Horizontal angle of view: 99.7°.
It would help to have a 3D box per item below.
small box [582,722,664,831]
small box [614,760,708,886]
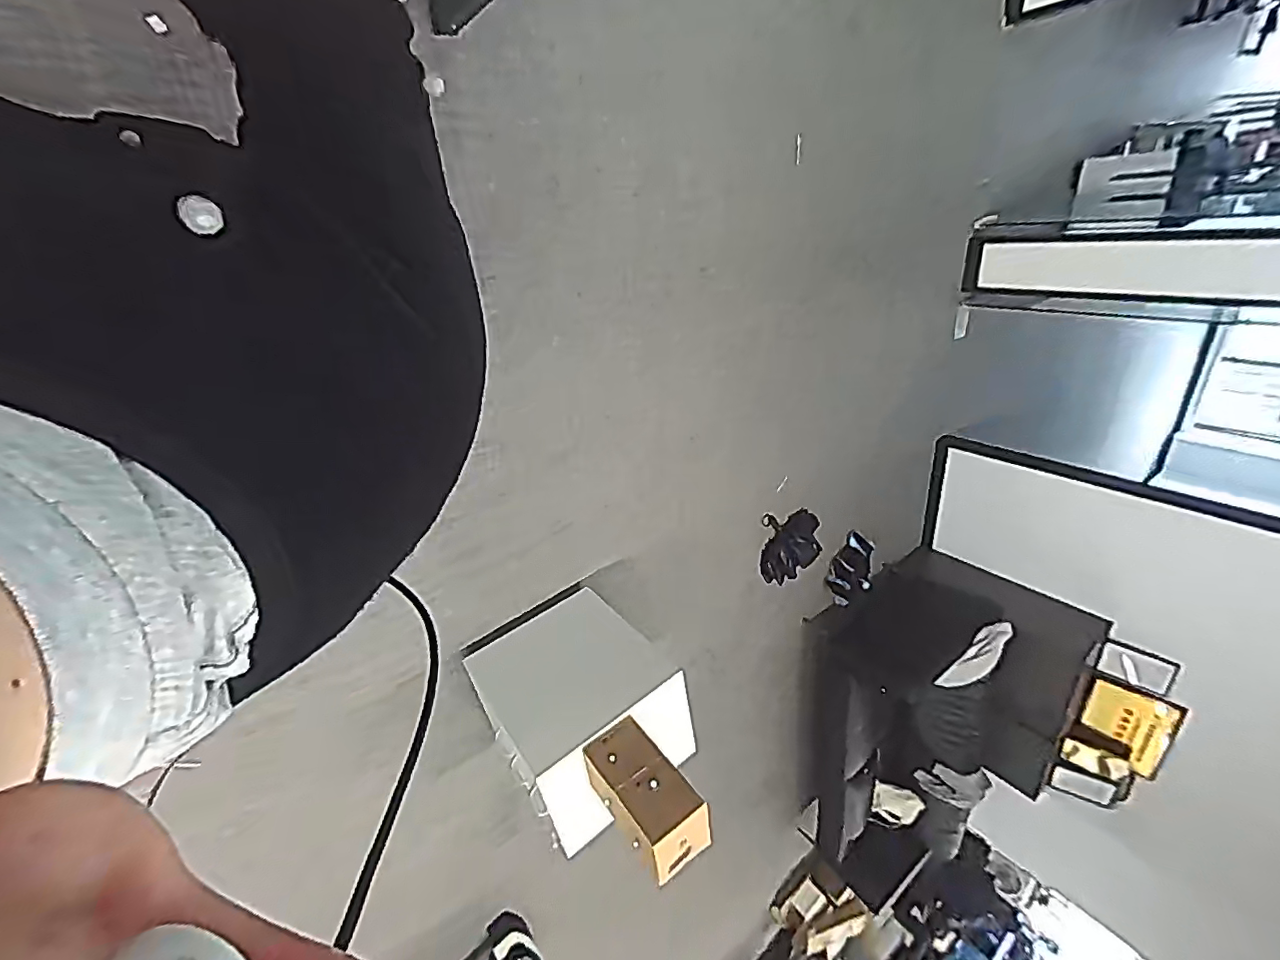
[{"bbox_3d":[-0.044,0.802,1.488,0.168,0.176,0.179,-25,124,-28],"label":"small box"},{"bbox_3d":[0.053,0.857,1.366,0.168,0.176,0.179,-24,121,-29],"label":"small box"}]
